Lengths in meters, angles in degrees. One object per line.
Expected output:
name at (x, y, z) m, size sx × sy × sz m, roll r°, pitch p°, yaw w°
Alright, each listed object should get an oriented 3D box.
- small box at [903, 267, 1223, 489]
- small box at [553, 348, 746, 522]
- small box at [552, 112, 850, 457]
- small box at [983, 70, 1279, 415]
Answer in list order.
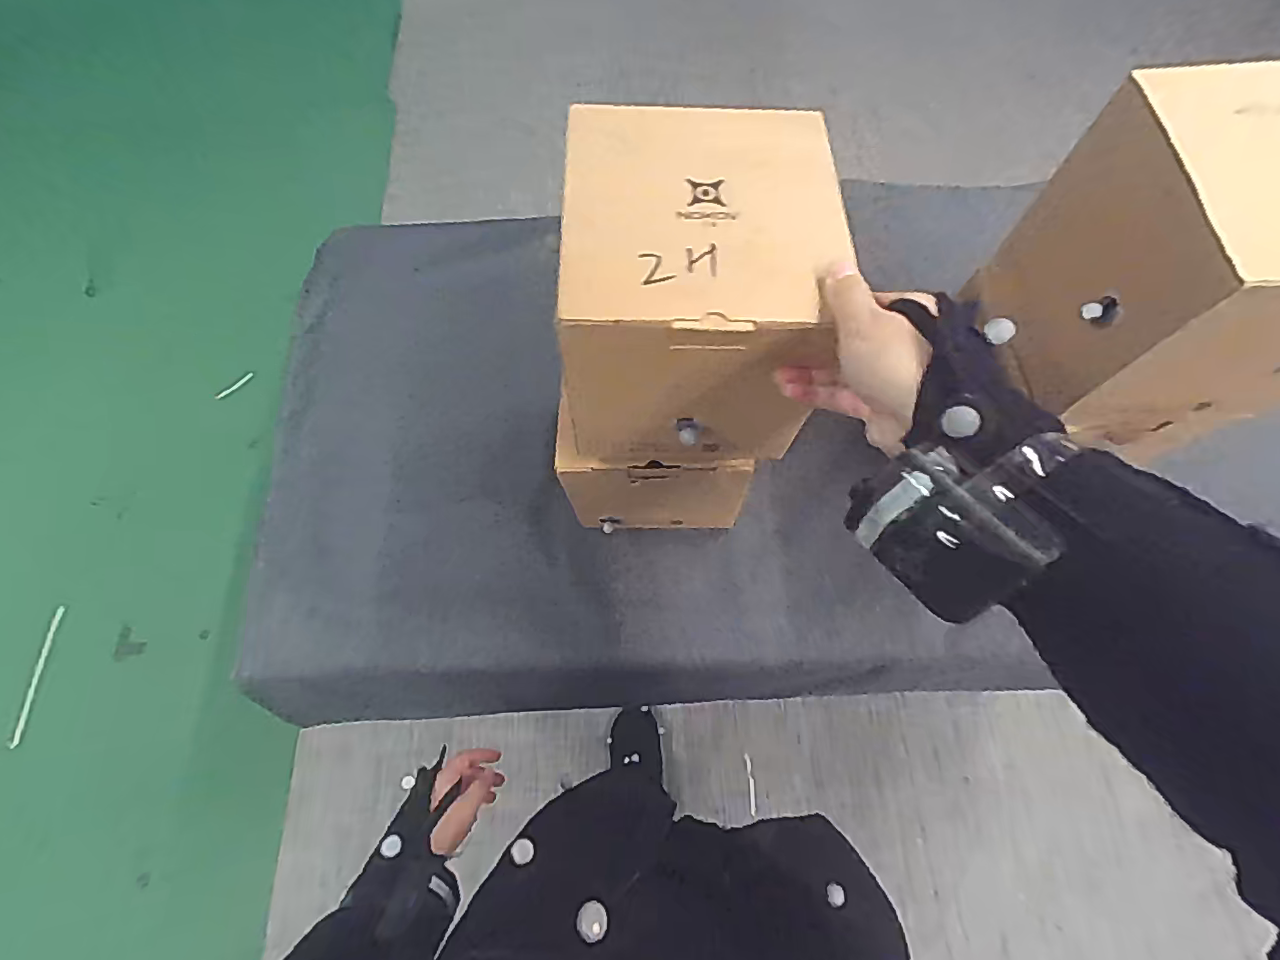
small box at (0.398, -0.097, 0.549) m, size 0.168 × 0.176 × 0.179 m, roll -5°, pitch 69°, yaw 1°
small box at (0.013, -0.060, 0.552) m, size 0.168 × 0.176 × 0.179 m, roll 0°, pitch 67°, yaw 2°
small box at (0.031, -0.132, 0.399) m, size 0.168 × 0.176 × 0.179 m, roll -1°, pitch 67°, yaw -1°
small box at (0.395, -0.157, 0.397) m, size 0.168 × 0.176 × 0.179 m, roll -2°, pitch 67°, yaw 1°
